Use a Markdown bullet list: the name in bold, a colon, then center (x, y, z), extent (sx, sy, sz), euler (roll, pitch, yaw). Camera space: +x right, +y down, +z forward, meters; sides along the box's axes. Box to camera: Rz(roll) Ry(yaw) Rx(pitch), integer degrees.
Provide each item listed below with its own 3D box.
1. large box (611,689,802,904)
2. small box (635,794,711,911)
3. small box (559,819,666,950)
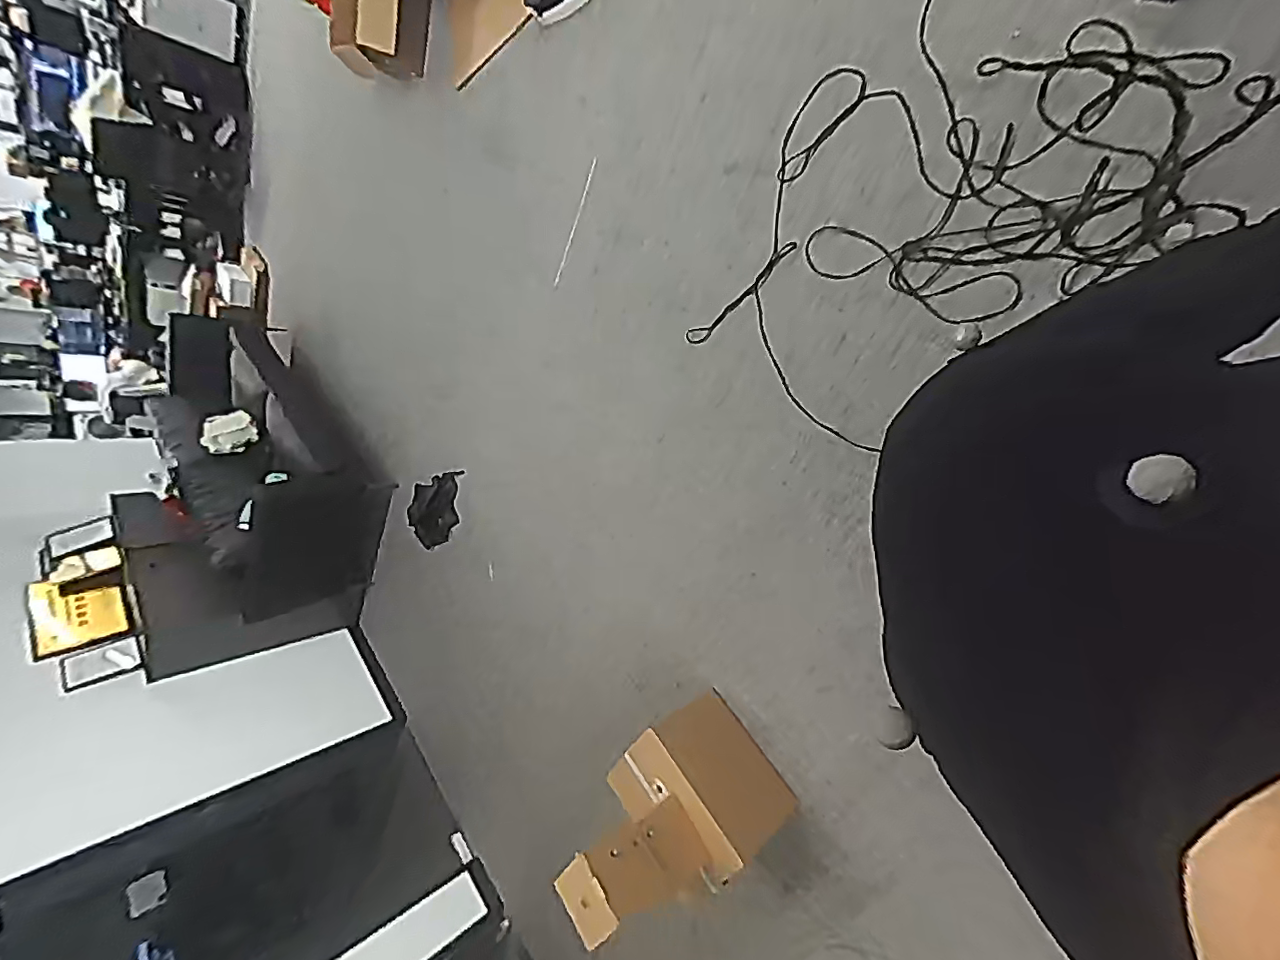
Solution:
- **large box**: center (0.193, 0.924, 1.622), extent (0.408, 0.320, 0.320), euler (49, 124, 28)
- **small box**: center (0.054, 0.975, 1.425), extent (0.179, 0.176, 0.168), euler (54, 127, 24)
- **small box**: center (-0.061, 0.970, 1.310), extent (0.168, 0.176, 0.179), euler (48, 125, 30)
